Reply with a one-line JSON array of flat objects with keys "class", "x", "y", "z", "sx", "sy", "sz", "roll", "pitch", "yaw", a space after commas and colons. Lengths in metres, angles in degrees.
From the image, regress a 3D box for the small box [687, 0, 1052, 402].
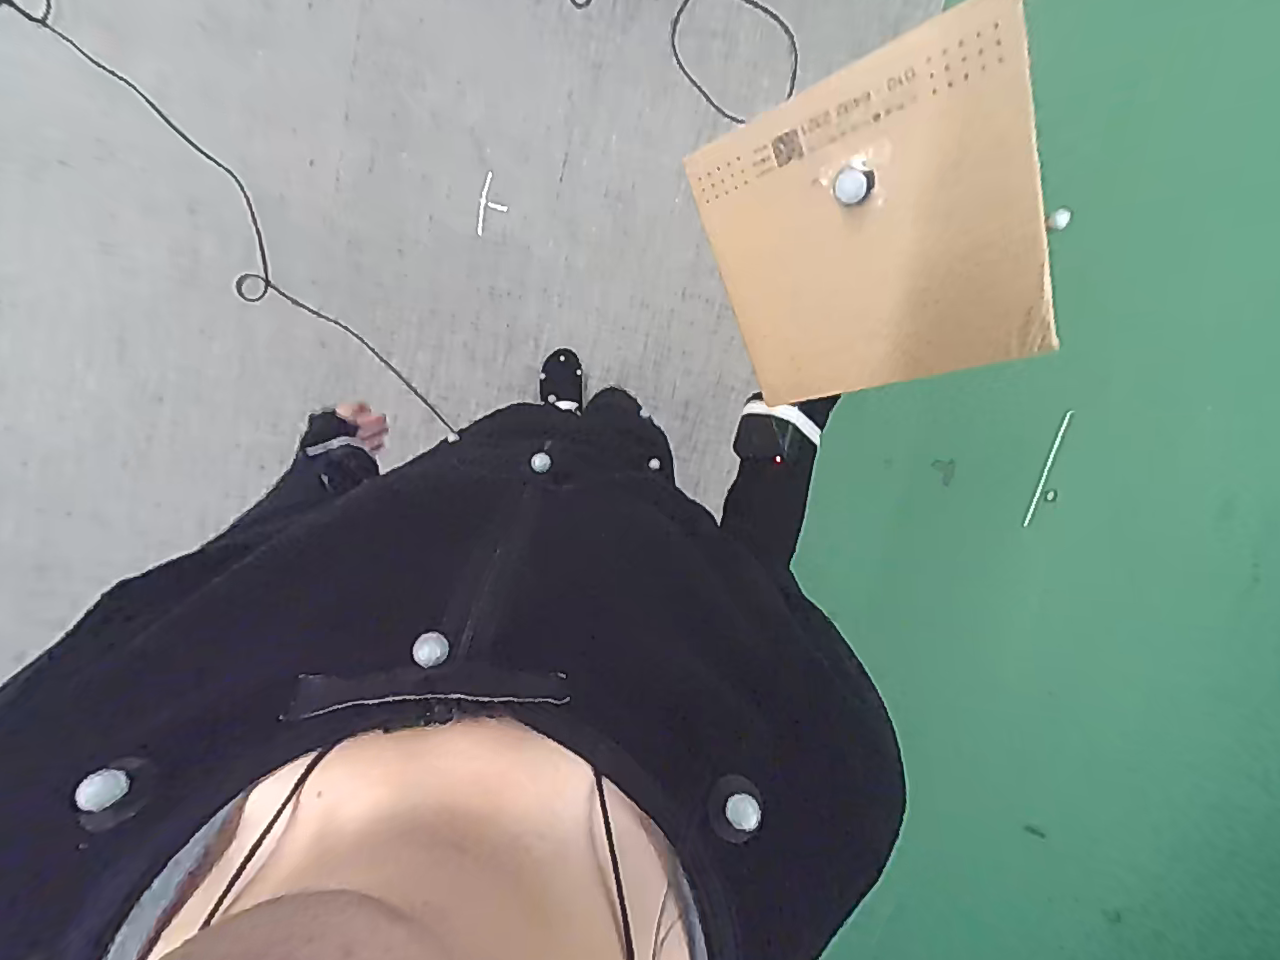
[{"class": "small box", "x": 0.157, "y": -0.178, "z": 0.359, "sx": 0.168, "sy": 0.179, "sz": 0.176, "roll": -9, "pitch": 118, "yaw": 37}]
